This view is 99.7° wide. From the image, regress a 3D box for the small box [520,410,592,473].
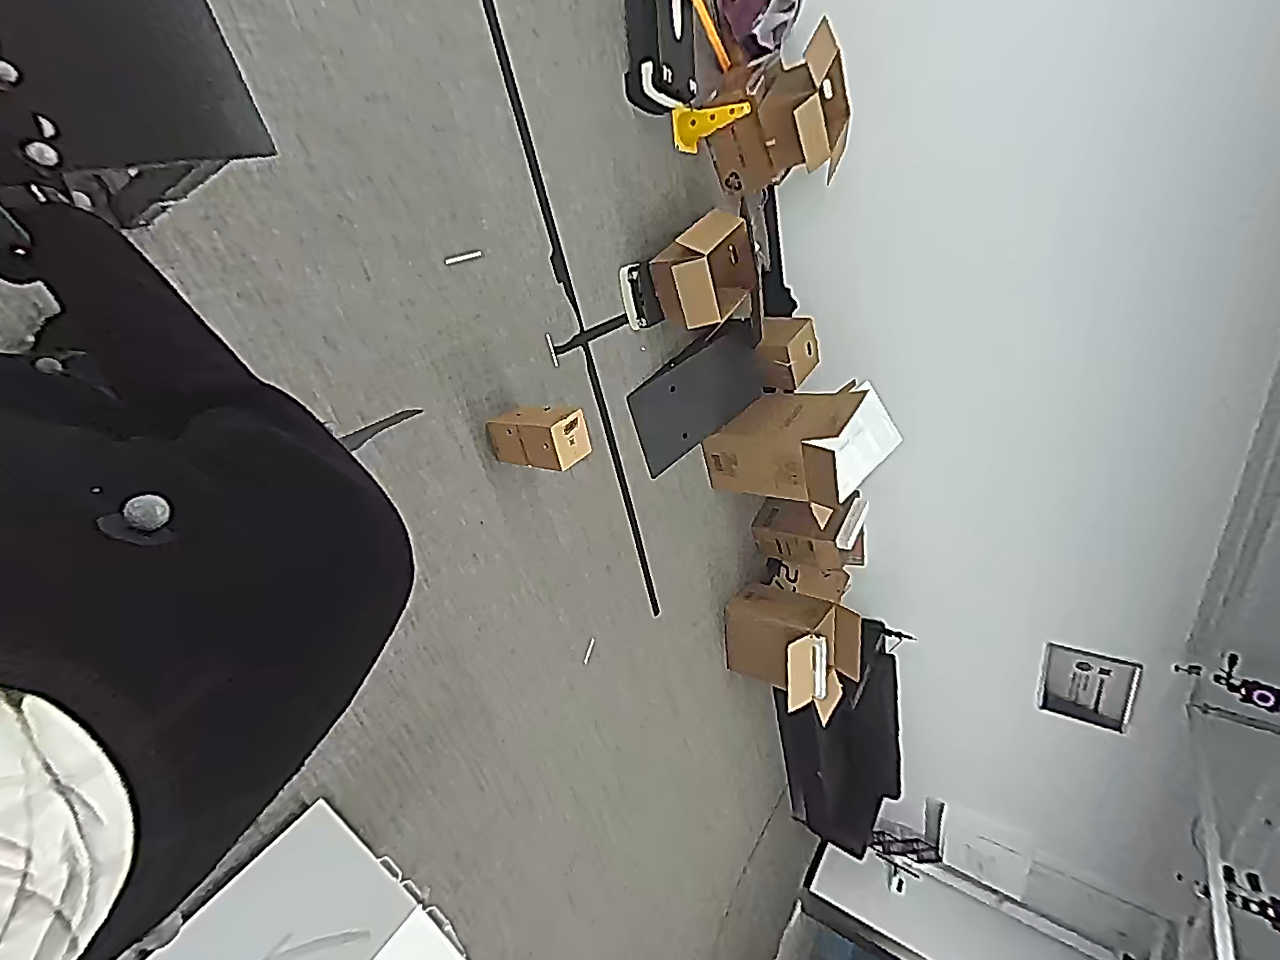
[{"bbox_3d":[-0.303,-0.143,1.933,0.168,0.176,0.179,-40,128,-42],"label":"small box"}]
